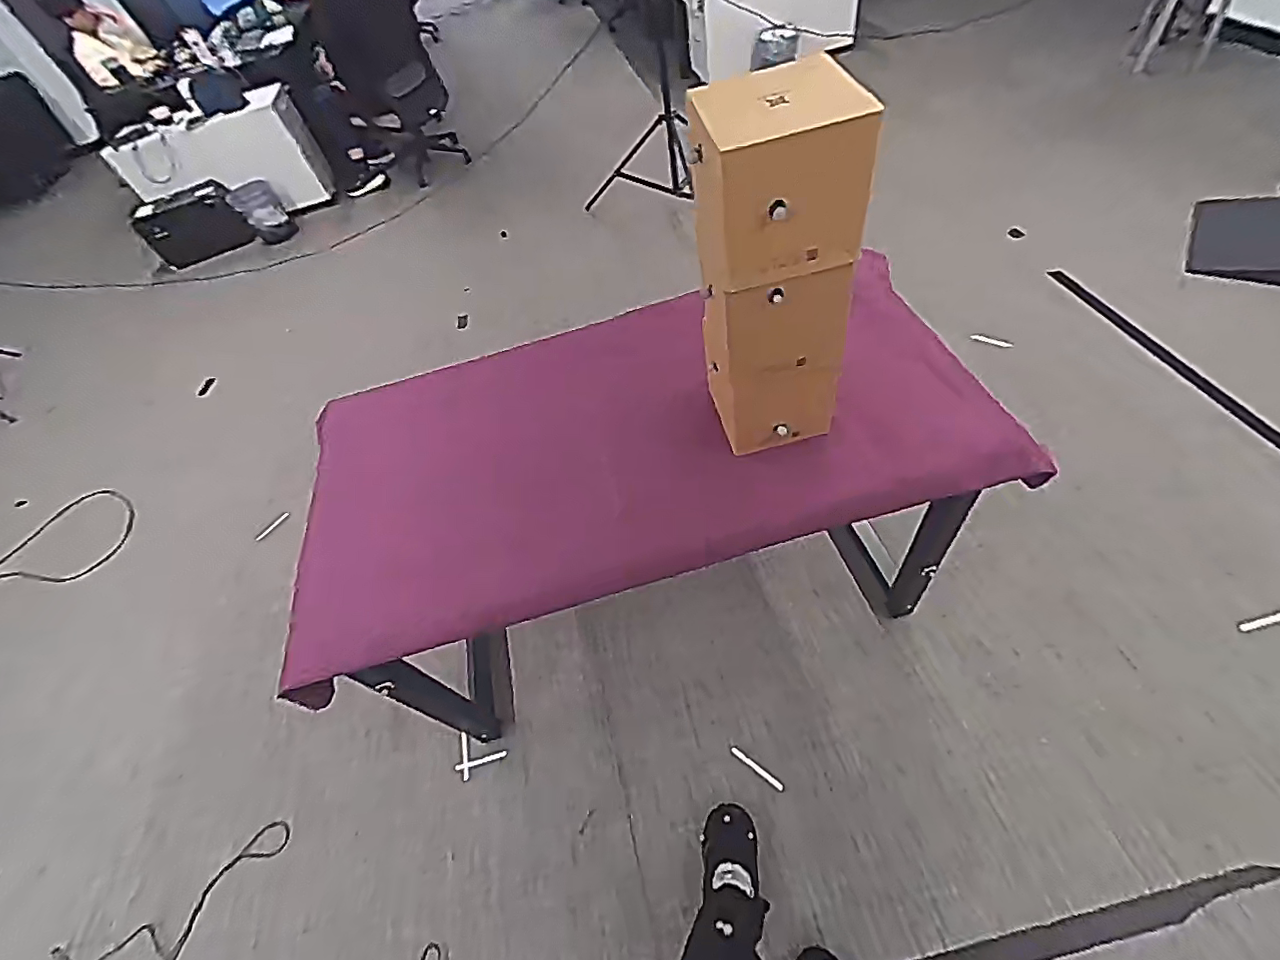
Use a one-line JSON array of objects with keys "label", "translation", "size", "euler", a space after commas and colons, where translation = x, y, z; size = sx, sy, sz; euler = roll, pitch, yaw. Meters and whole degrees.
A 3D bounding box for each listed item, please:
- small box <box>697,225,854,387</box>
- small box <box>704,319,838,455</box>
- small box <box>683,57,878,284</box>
[{"label": "small box", "translation": [0.183, -0.263, 0.773], "size": [0.168, 0.176, 0.179], "euler": [-13, 52, 3]}, {"label": "small box", "translation": [0.211, -0.171, 0.906], "size": [0.168, 0.176, 0.179], "euler": [-15, 53, 2]}, {"label": "small box", "translation": [0.156, -0.353, 0.639], "size": [0.168, 0.176, 0.179], "euler": [-14, 52, 3]}]
